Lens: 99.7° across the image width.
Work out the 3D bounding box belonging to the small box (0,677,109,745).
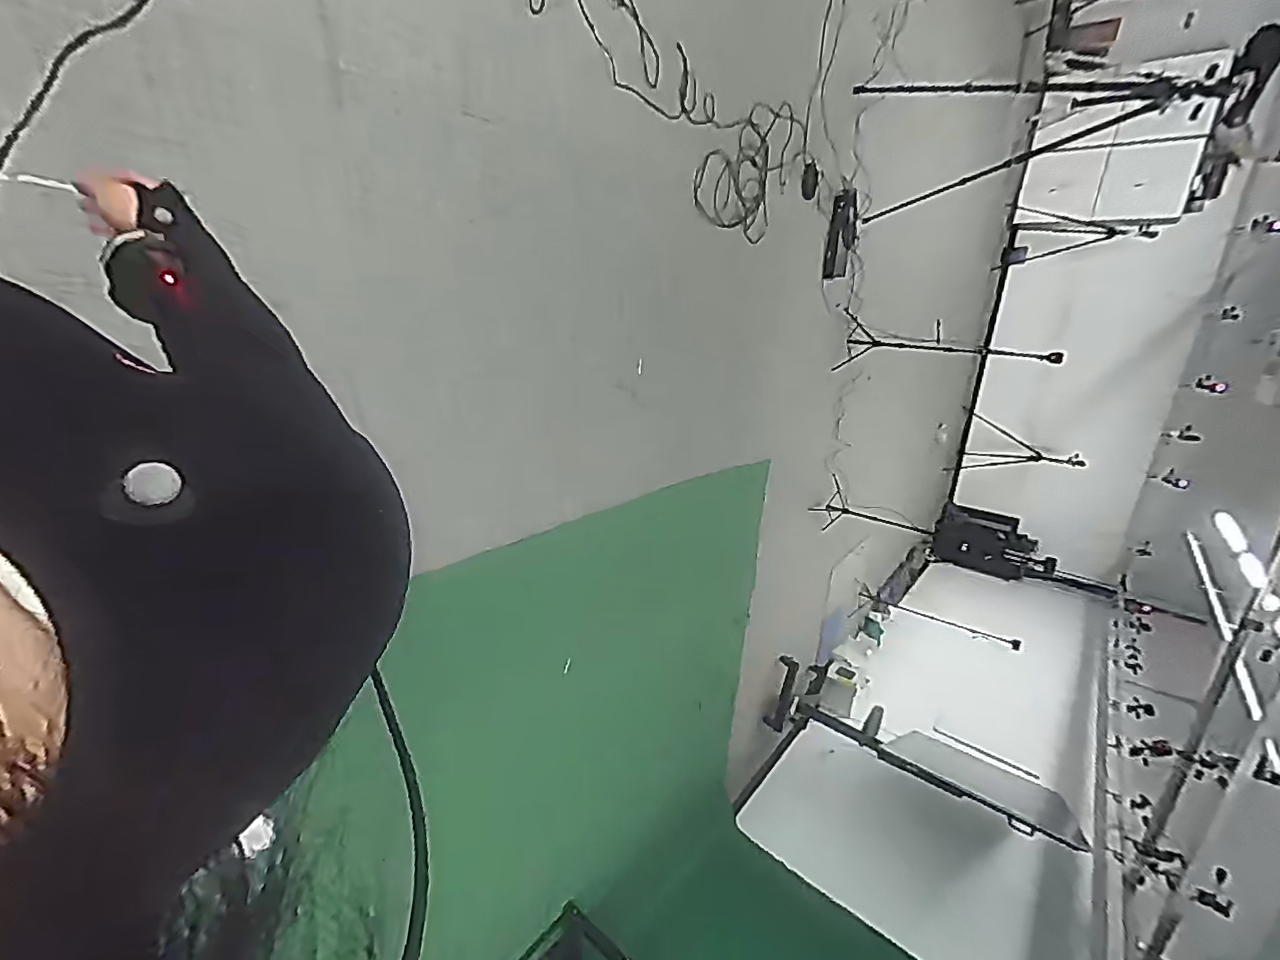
[{"bbox_3d":[-1.119,0.514,1.030,0.168,0.176,0.179,-19,116,-45],"label":"small box"}]
